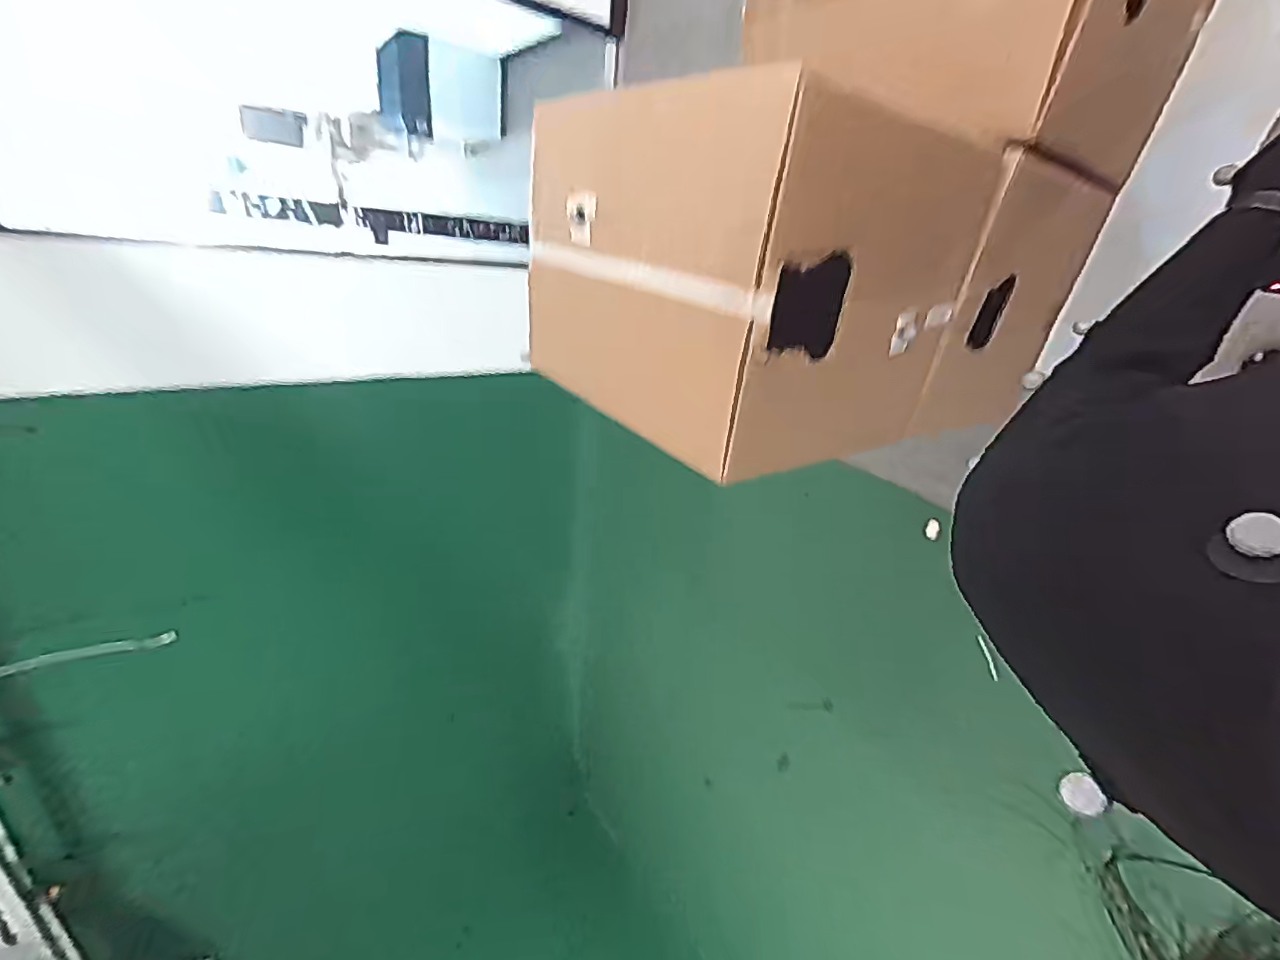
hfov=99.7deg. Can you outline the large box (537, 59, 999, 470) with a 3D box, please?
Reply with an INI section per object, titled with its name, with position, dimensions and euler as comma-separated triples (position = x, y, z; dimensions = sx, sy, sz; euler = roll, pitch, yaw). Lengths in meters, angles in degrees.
[large box]
position = 0.107, -0.246, 0.644
dimensions = 0.408, 0.320, 0.320
euler = 36, 128, 46
